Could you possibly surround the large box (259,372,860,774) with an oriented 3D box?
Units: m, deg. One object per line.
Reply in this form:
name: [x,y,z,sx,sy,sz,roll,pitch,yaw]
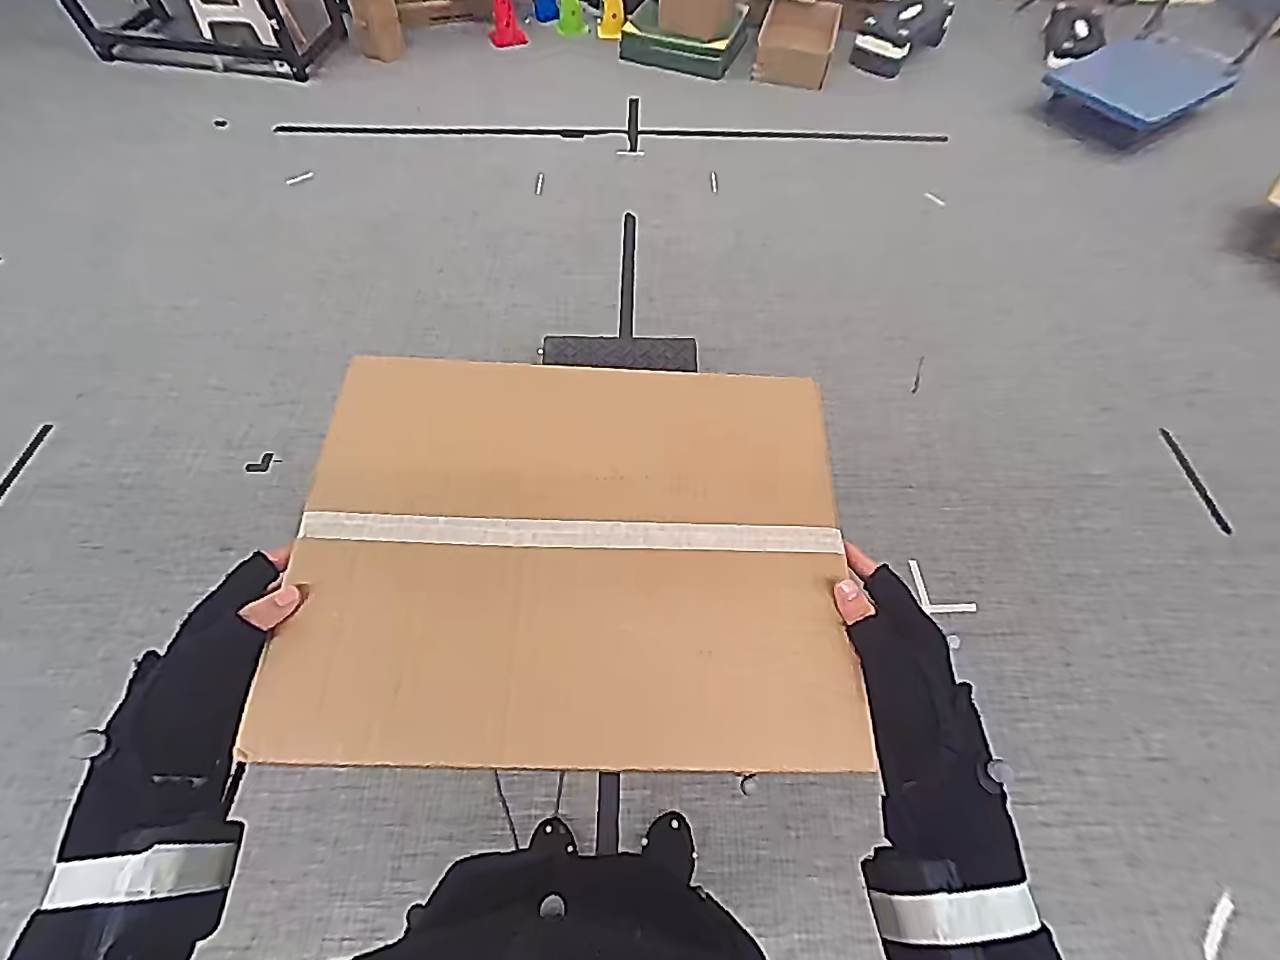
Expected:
large box: [-0.054,0.113,0.553,0.408,0.320,0.320,3,63,-3]
